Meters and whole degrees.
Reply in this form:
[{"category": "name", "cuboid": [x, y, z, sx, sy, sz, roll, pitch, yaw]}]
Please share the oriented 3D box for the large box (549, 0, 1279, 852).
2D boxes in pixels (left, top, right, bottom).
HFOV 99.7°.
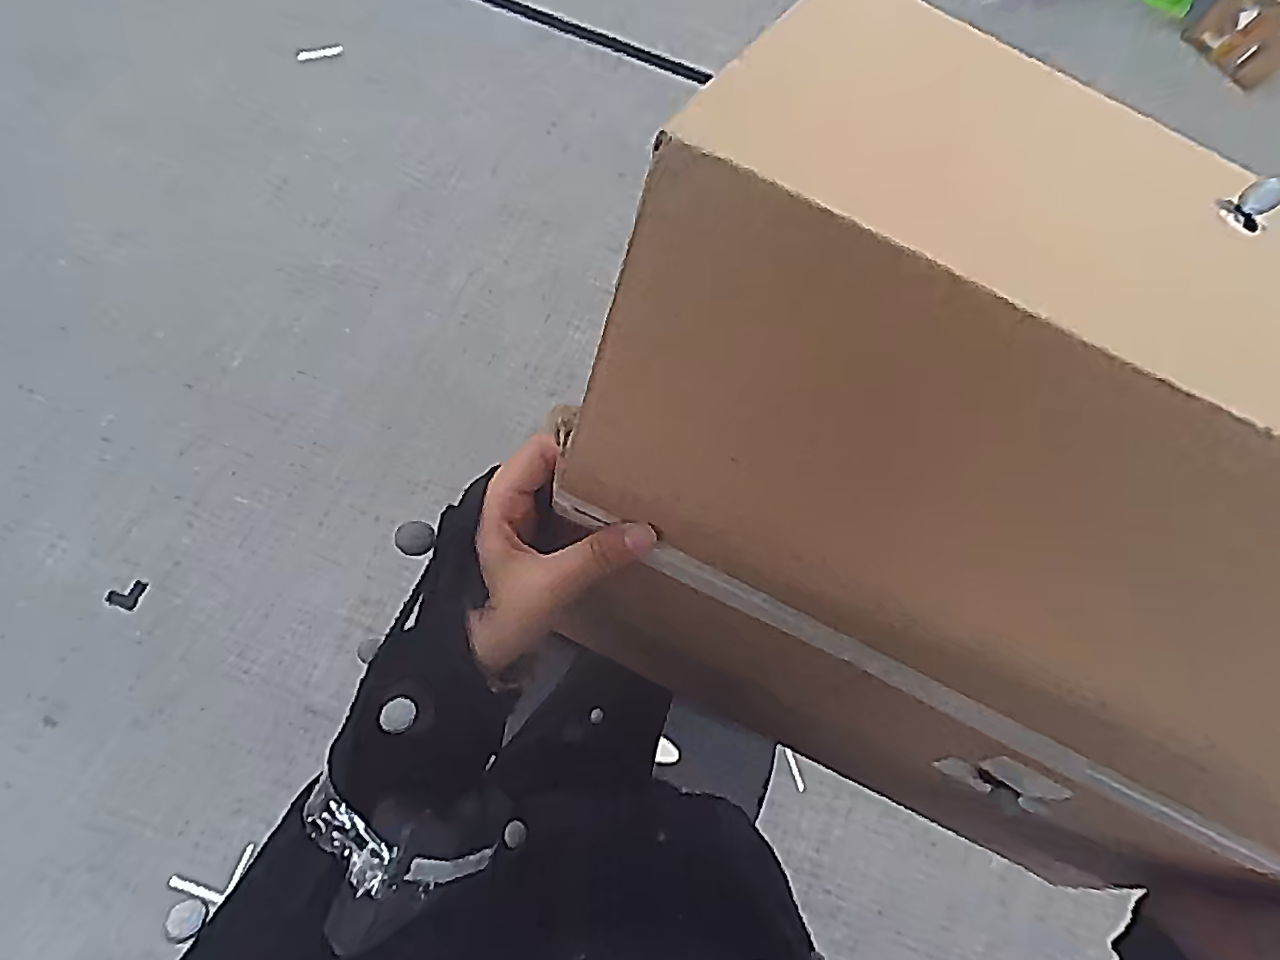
[{"category": "large box", "cuboid": [0.205, -0.040, 0.326, 0.408, 0.320, 0.320, 26, 53, 0]}]
